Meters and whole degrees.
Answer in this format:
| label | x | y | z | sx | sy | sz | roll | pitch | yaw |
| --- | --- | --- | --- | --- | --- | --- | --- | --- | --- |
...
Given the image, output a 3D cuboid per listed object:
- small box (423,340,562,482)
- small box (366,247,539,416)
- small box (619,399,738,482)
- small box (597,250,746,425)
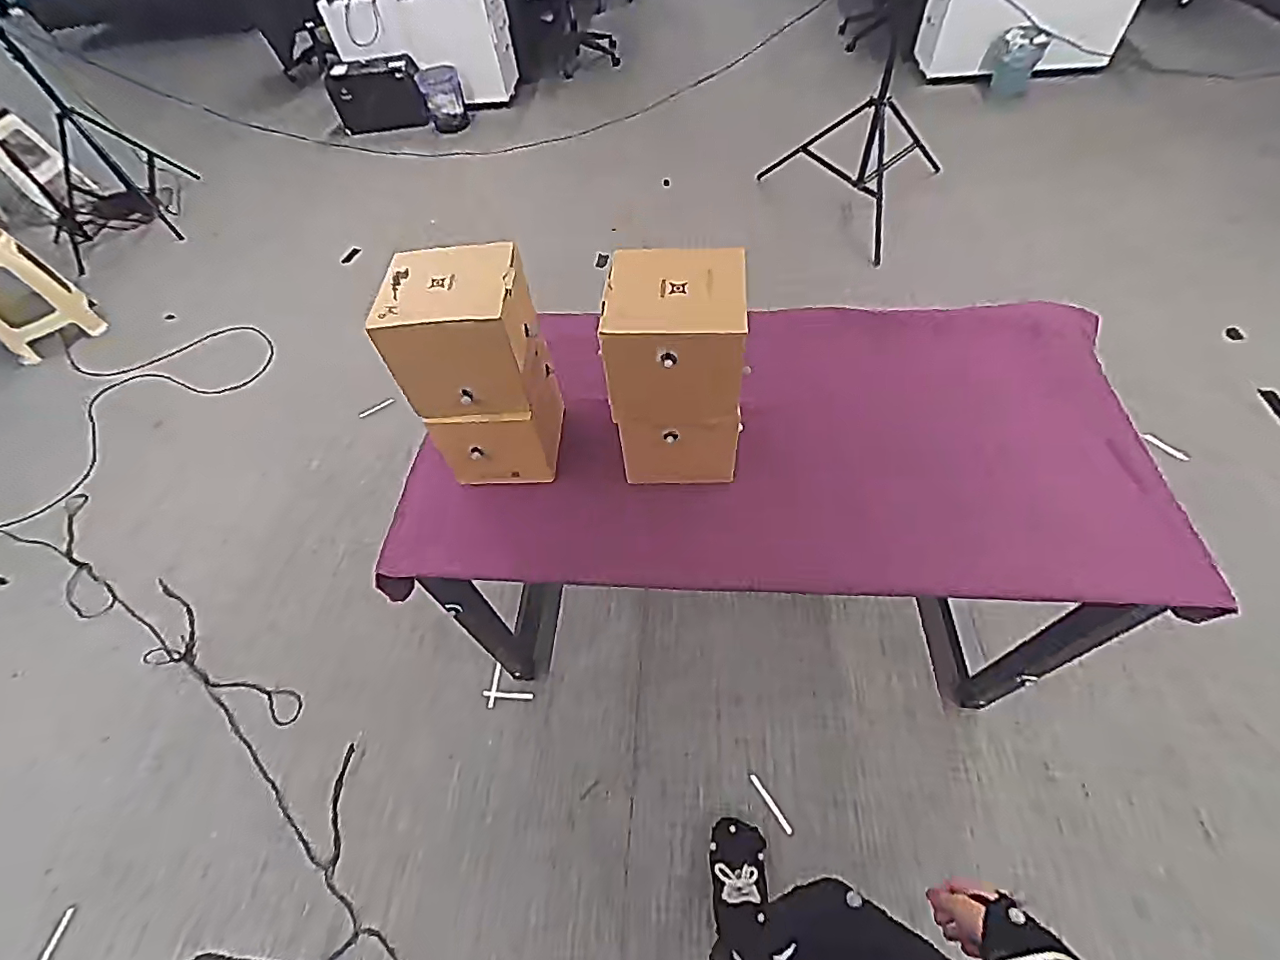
| label | x | y | z | sx | sy | sz | roll | pitch | yaw |
| --- | --- | --- | --- | --- | --- | --- | --- | --- | --- |
| small box | -0.232 | -0.108 | 0.904 | 0.168 | 0.176 | 0.179 | -2 | 55 | 4 |
| small box | -0.249 | -0.208 | 0.774 | 0.179 | 0.176 | 0.168 | -3 | 54 | 2 |
| small box | 0.062 | -0.107 | 0.875 | 0.179 | 0.176 | 0.168 | 0 | 55 | 4 |
| small box | 0.048 | -0.188 | 0.735 | 0.179 | 0.176 | 0.168 | 2 | 57 | 5 |
